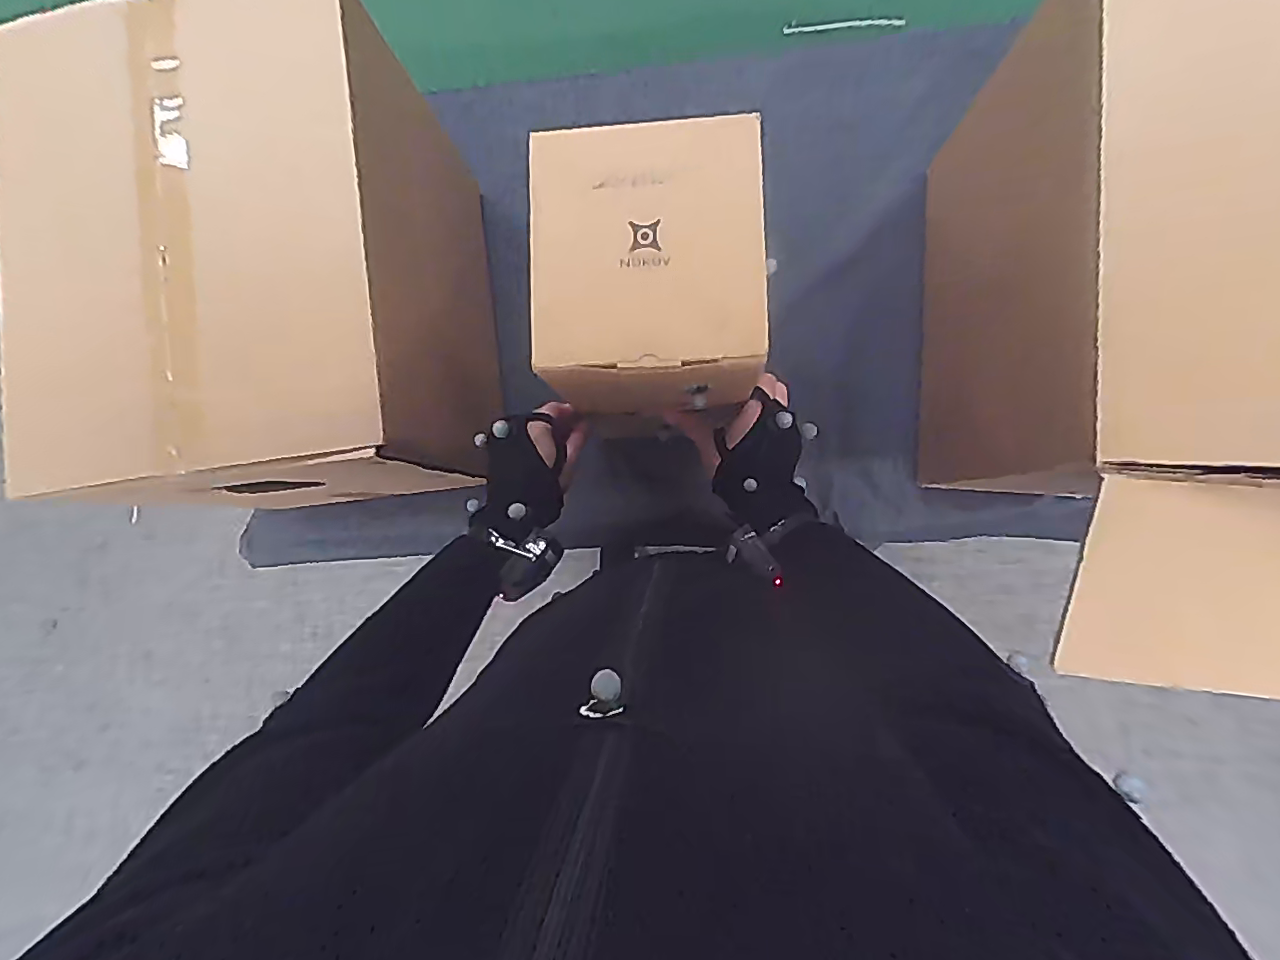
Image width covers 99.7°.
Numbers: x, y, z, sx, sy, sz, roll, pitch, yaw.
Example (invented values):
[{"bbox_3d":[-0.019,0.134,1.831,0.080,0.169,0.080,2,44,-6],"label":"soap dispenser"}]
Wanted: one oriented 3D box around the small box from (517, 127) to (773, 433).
[{"bbox_3d":[0.008,-0.134,0.430,0.168,0.176,0.179,-3,85,4],"label":"small box"}]
